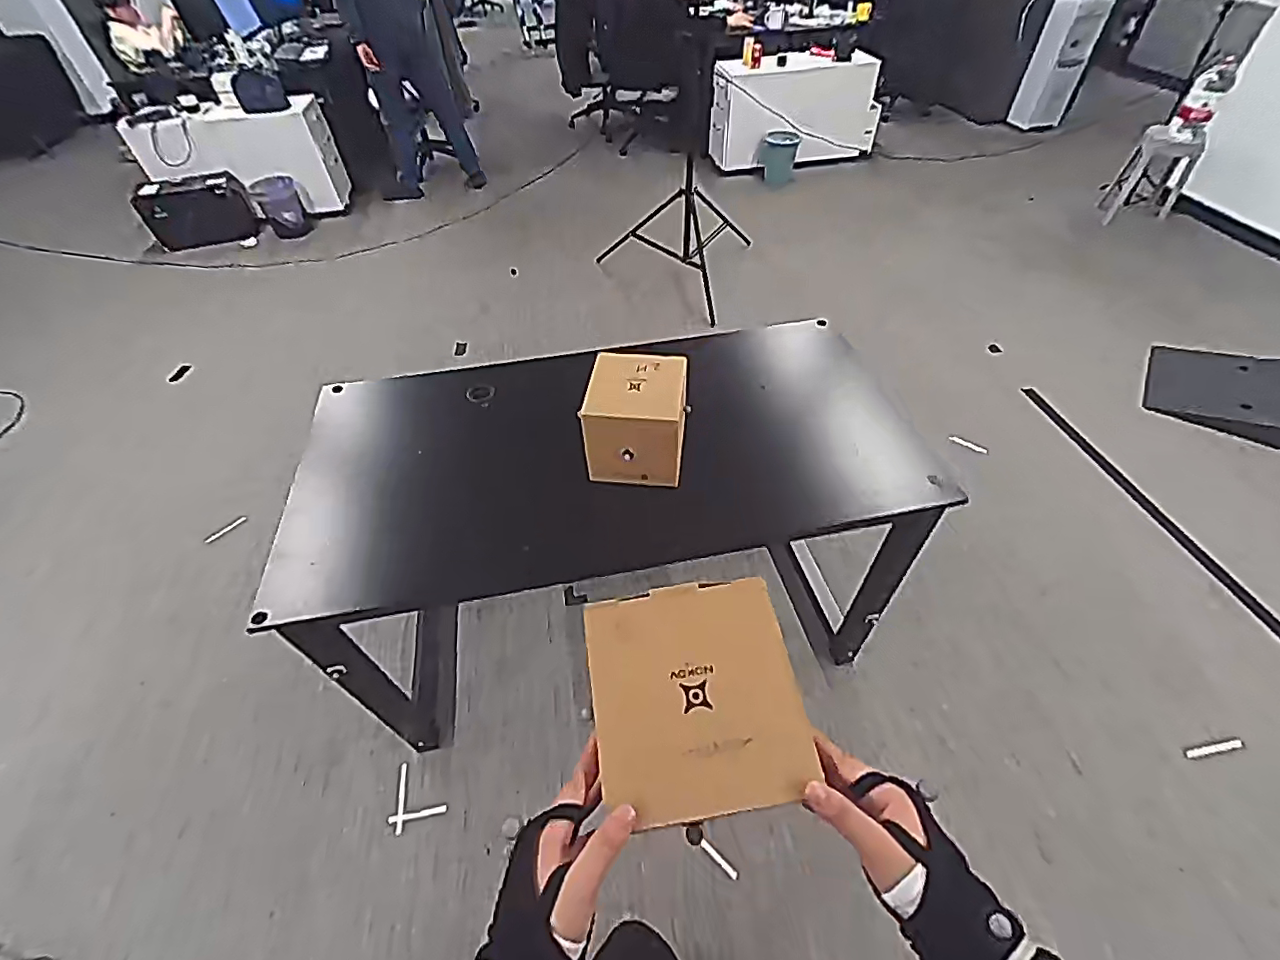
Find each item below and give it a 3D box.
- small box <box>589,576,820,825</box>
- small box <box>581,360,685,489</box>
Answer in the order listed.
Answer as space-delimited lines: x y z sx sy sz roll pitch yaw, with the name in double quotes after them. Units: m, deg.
0.045 0.213 0.514 0.168 0.176 0.179 -8 57 -3 "small box"
-0.004 -0.101 1.006 0.168 0.176 0.179 5 48 6 "small box"
